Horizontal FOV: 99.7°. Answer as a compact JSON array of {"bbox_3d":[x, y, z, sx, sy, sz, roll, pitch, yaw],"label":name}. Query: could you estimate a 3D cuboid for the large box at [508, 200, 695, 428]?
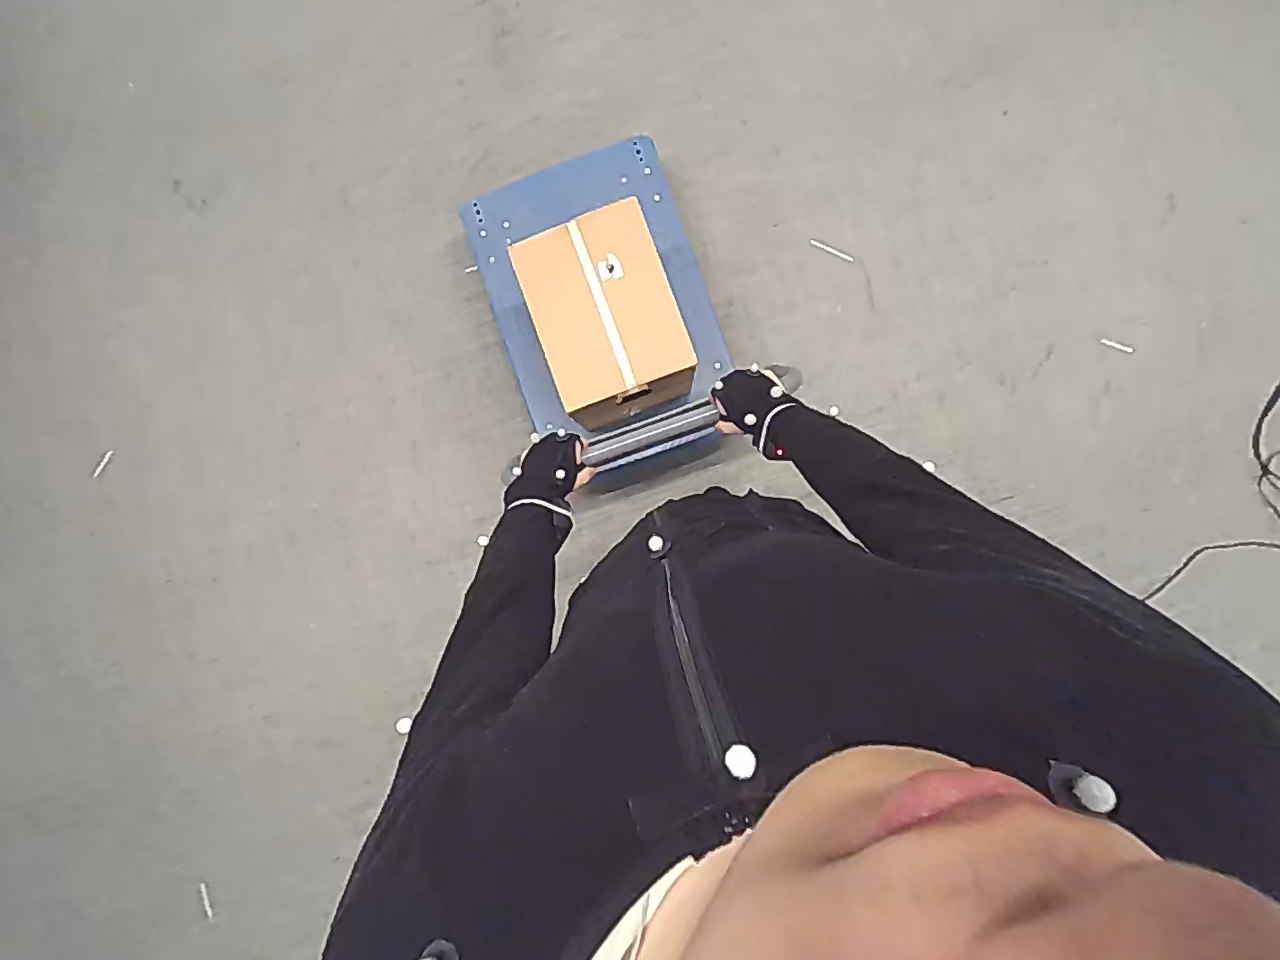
[{"bbox_3d":[-0.077,-0.384,1.351,0.320,0.320,0.408,-20,87,2],"label":"large box"}]
